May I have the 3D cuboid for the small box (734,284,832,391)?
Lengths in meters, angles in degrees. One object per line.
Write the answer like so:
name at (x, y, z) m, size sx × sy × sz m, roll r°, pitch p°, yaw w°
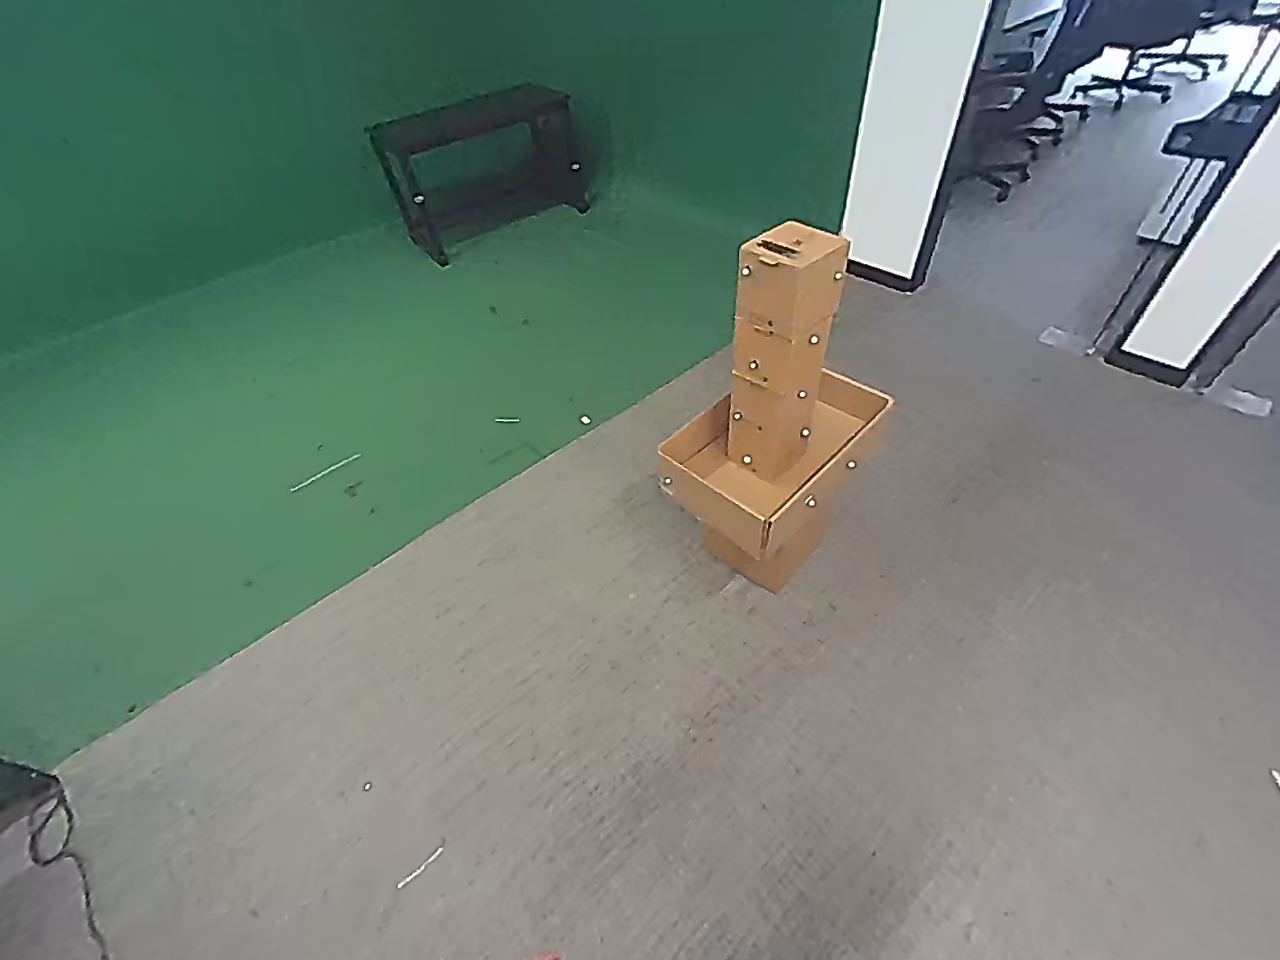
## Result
small box at (0.347, -0.355, 1.349) m, size 0.168 × 0.176 × 0.179 m, roll 33°, pitch 59°, yaw 30°

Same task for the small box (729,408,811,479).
small box at (0.373, -0.138, 1.590) m, size 0.179 × 0.176 × 0.168 m, roll -37°, pitch 53°, yaw -25°

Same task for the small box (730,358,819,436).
small box at (0.360, -0.250, 1.471) m, size 0.168 × 0.176 × 0.179 m, roll 33°, pitch 57°, yaw 31°
